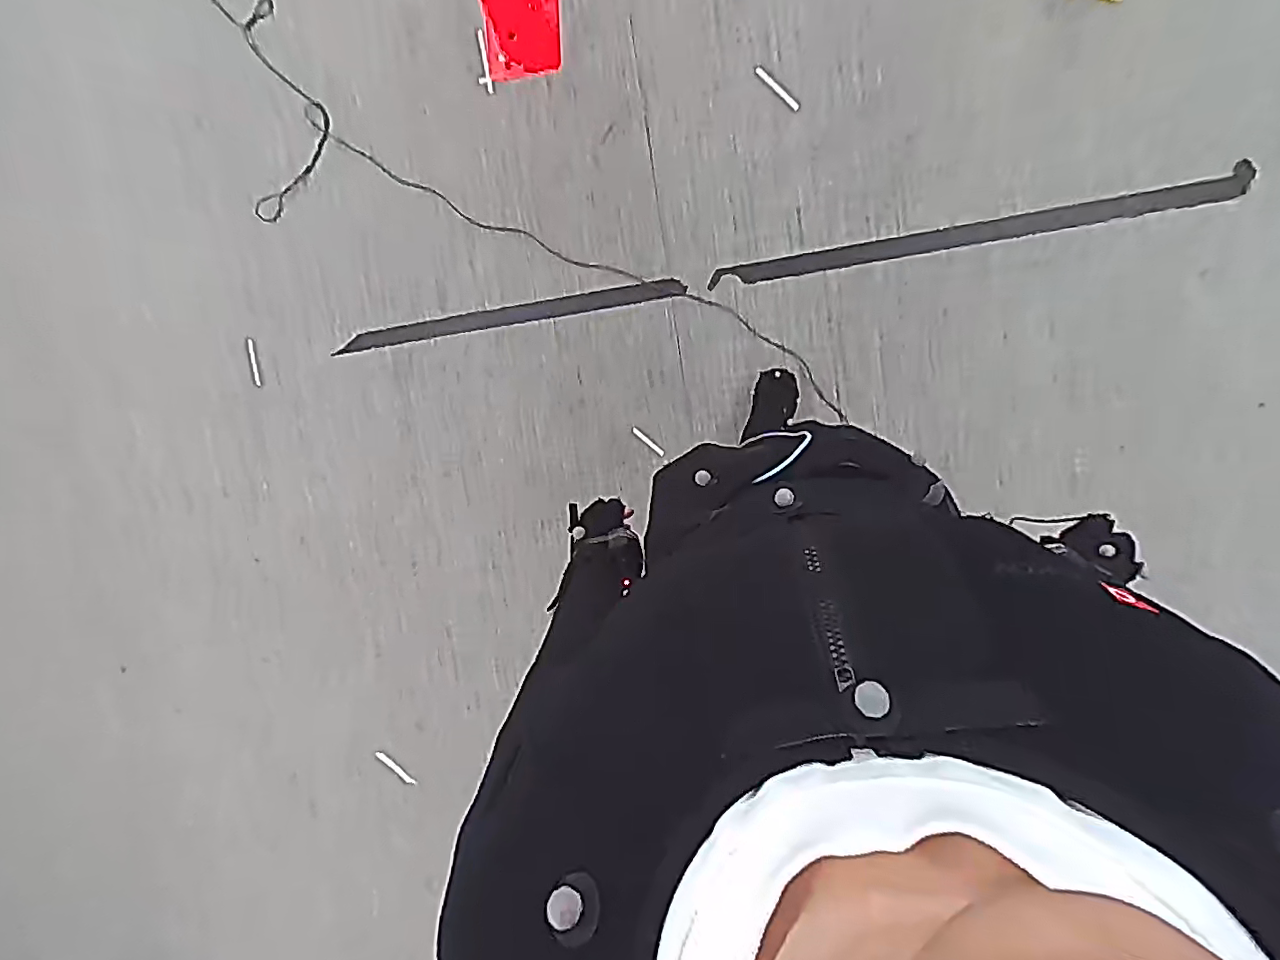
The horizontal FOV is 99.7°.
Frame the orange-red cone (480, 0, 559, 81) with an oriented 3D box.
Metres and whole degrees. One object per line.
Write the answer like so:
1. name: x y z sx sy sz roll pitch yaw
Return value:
1. orange-red cone: -0.328 -1.108 1.206 0.199 0.360 0.198 0 97 9
